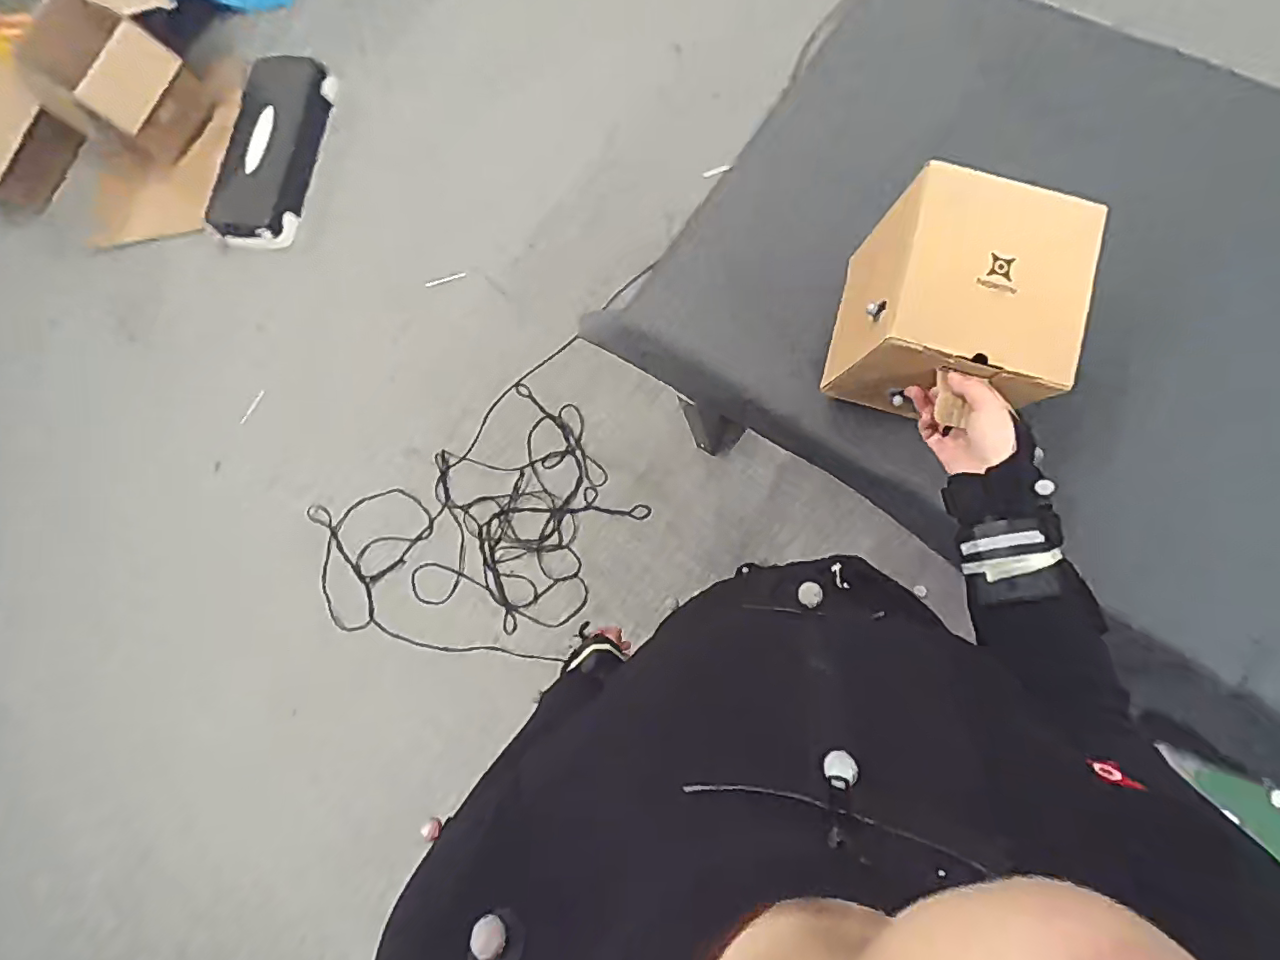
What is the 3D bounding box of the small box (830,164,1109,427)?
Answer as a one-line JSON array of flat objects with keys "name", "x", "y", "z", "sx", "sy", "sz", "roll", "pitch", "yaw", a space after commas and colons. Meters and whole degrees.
[{"name": "small box", "x": 0.312, "y": -0.169, "z": 0.548, "sx": 0.168, "sy": 0.176, "sz": 0.179, "roll": 15, "pitch": 85, "yaw": 0}]
